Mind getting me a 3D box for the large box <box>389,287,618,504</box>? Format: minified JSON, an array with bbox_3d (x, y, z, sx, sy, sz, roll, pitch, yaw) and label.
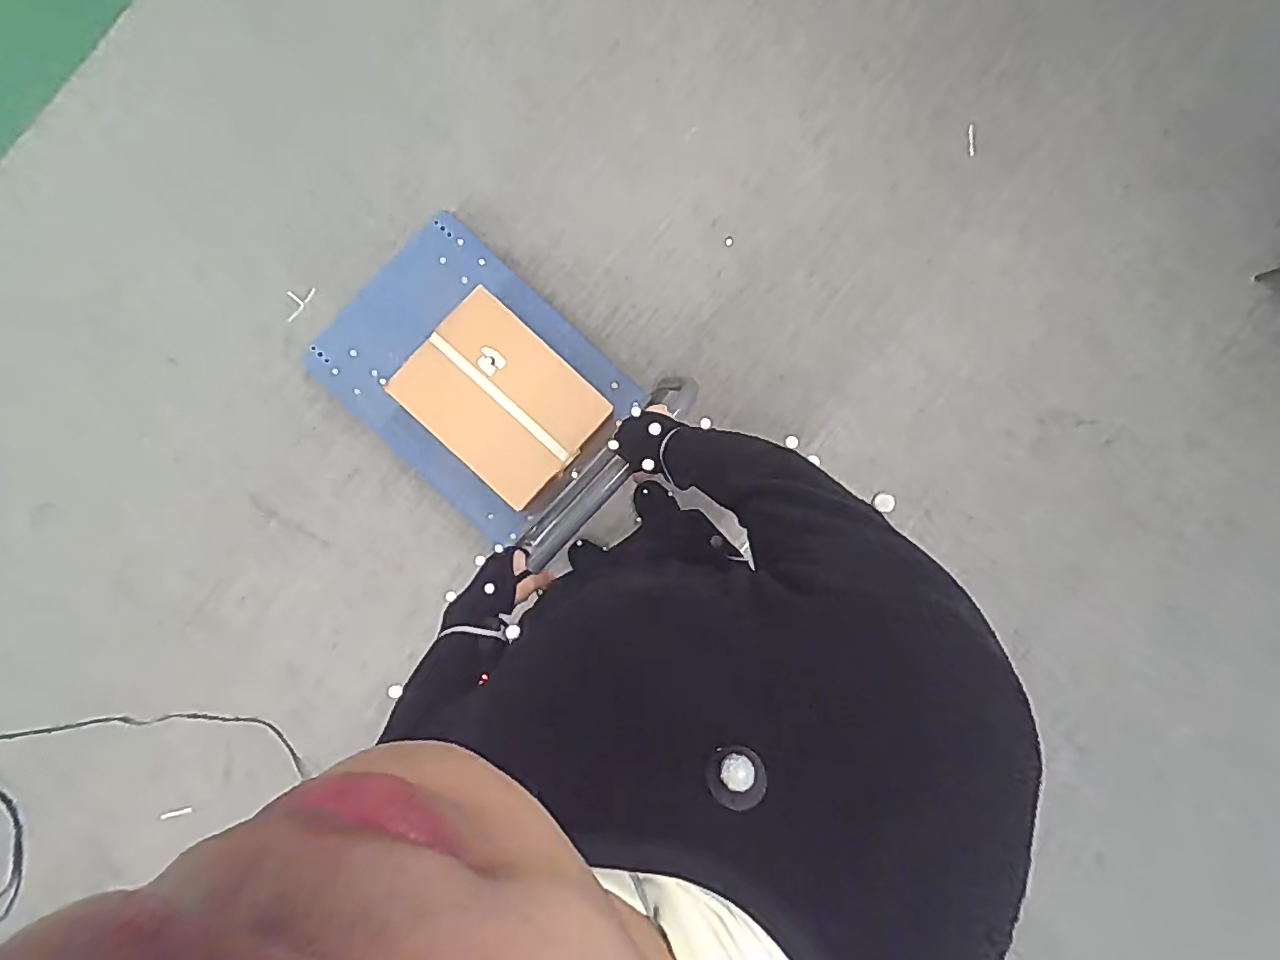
[{"bbox_3d":[-0.304,-0.182,1.335,0.408,0.320,0.320,43,88,1],"label":"large box"}]
